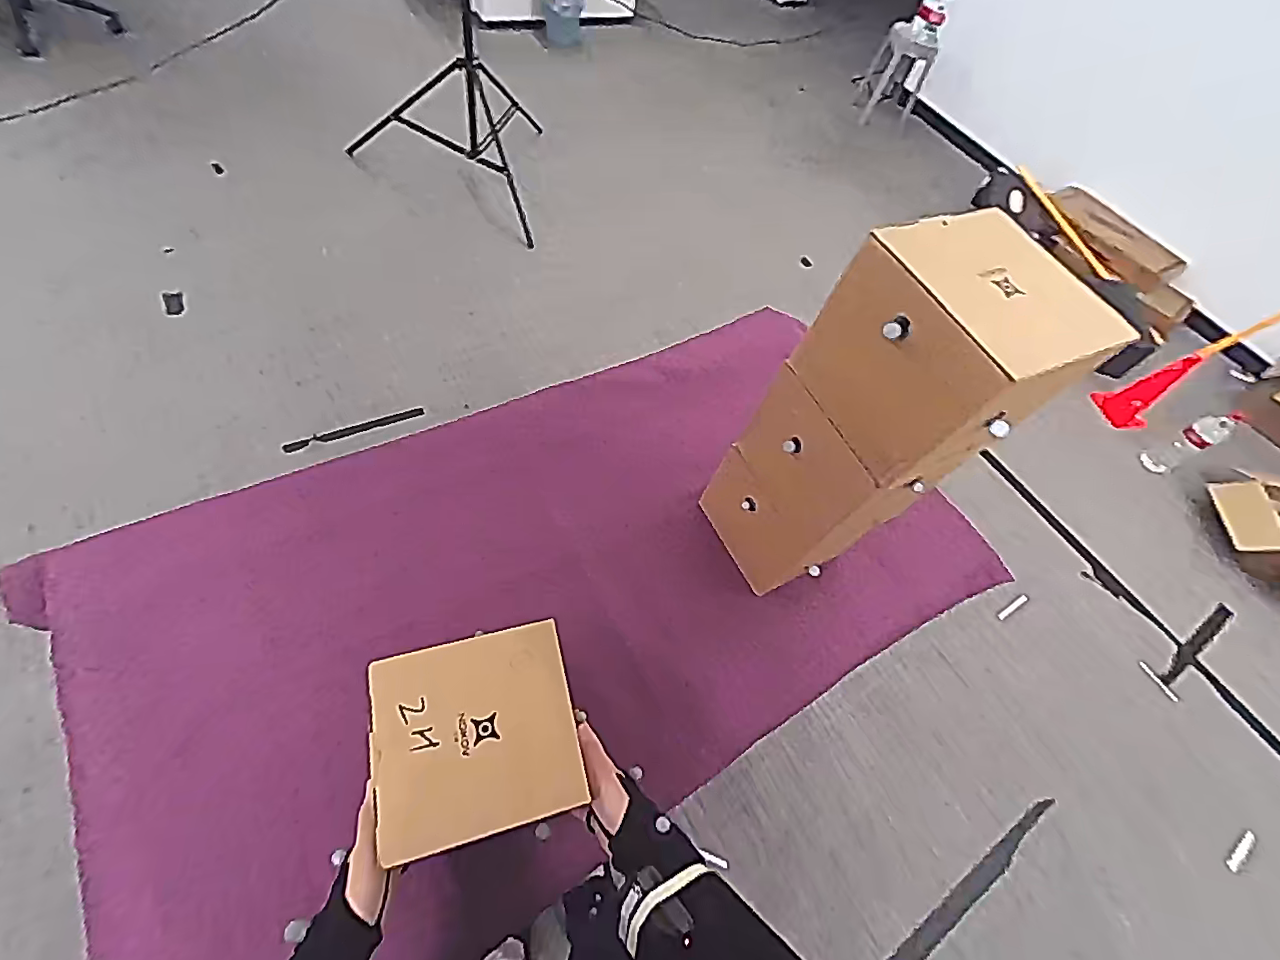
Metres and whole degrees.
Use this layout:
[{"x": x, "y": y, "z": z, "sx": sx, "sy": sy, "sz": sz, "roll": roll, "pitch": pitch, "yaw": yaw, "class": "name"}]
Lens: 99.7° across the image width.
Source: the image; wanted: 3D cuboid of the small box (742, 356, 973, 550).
[{"x": 0.251, "y": -0.044, "z": 0.657, "sx": 0.168, "sy": 0.176, "sz": 0.179, "roll": -19, "pitch": 64, "yaw": -21, "class": "small box"}]

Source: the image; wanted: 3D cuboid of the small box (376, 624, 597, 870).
[{"x": -0.149, "y": 0.263, "z": 0.549, "sx": 0.179, "sy": 0.176, "sz": 0.168, "roll": -11, "pitch": 62, "yaw": -13, "class": "small box"}]

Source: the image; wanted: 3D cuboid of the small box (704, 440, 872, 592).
[{"x": 0.218, "y": 0.036, "z": 0.797, "sx": 0.168, "sy": 0.176, "sz": 0.179, "roll": -21, "pitch": 66, "yaw": -22, "class": "small box"}]

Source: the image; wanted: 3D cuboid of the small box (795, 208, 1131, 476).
[{"x": 0.284, "y": -0.123, "z": 0.518, "sx": 0.168, "sy": 0.176, "sz": 0.179, "roll": -19, "pitch": 64, "yaw": -21, "class": "small box"}]
